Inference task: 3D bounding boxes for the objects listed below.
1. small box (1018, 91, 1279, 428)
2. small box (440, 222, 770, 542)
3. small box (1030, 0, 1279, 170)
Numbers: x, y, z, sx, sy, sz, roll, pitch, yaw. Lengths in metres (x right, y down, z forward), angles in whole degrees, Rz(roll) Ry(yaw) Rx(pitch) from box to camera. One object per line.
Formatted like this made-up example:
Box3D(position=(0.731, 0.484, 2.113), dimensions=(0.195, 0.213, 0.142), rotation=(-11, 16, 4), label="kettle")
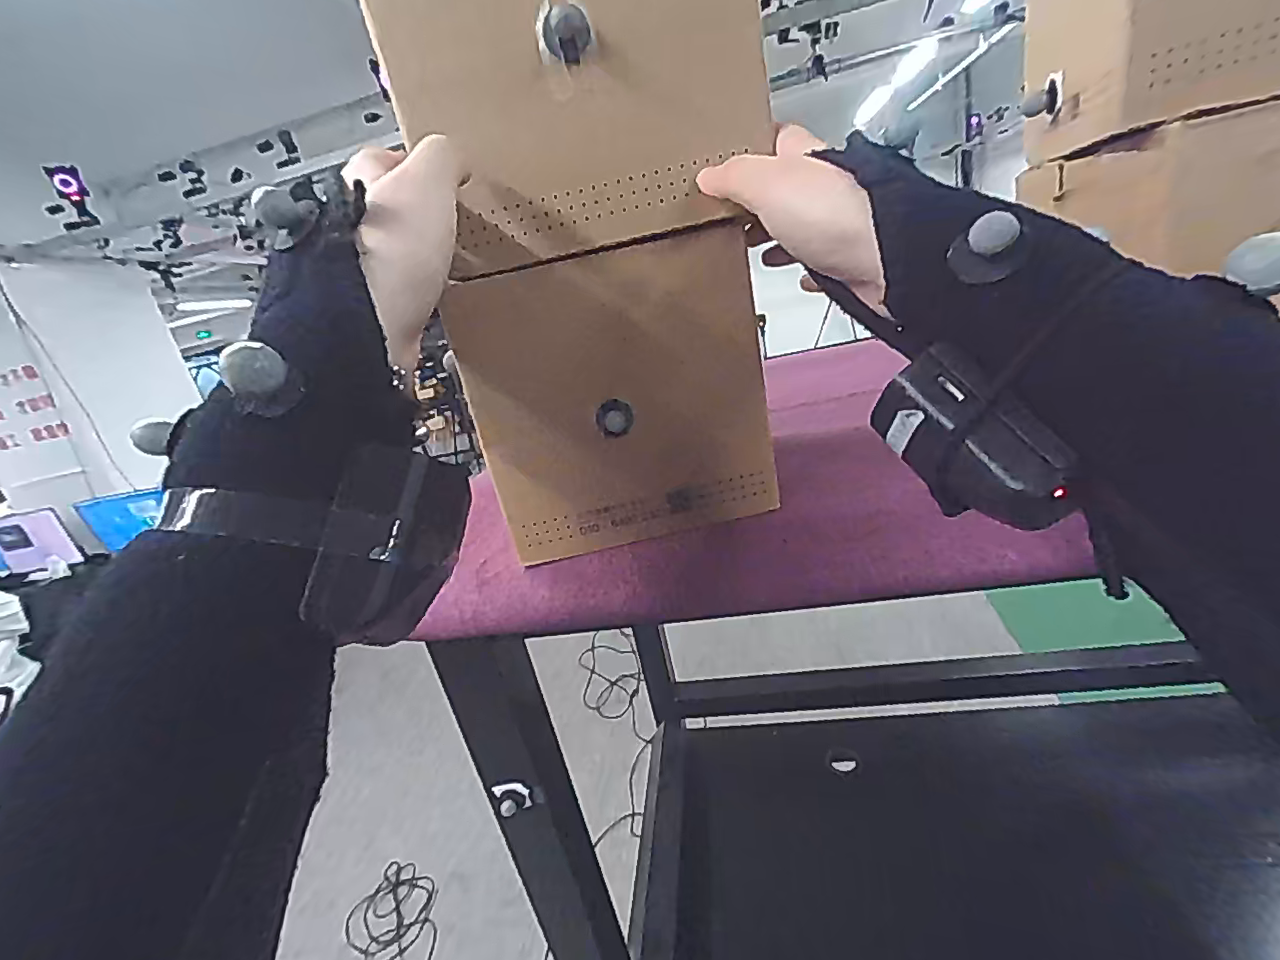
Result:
Box3D(position=(0.375, -0.138, 0.344), dimensions=(0.179, 0.176, 0.168), rotation=(-8, 20, 12), label="small box")
Box3D(position=(-0.016, -0.067, 0.383), dimensions=(0.168, 0.176, 0.179), rotation=(-11, 19, -1), label="small box")
Box3D(position=(0.337, -0.287, 0.292), dimensions=(0.179, 0.176, 0.168), rotation=(-6, 19, 22), label="small box")
